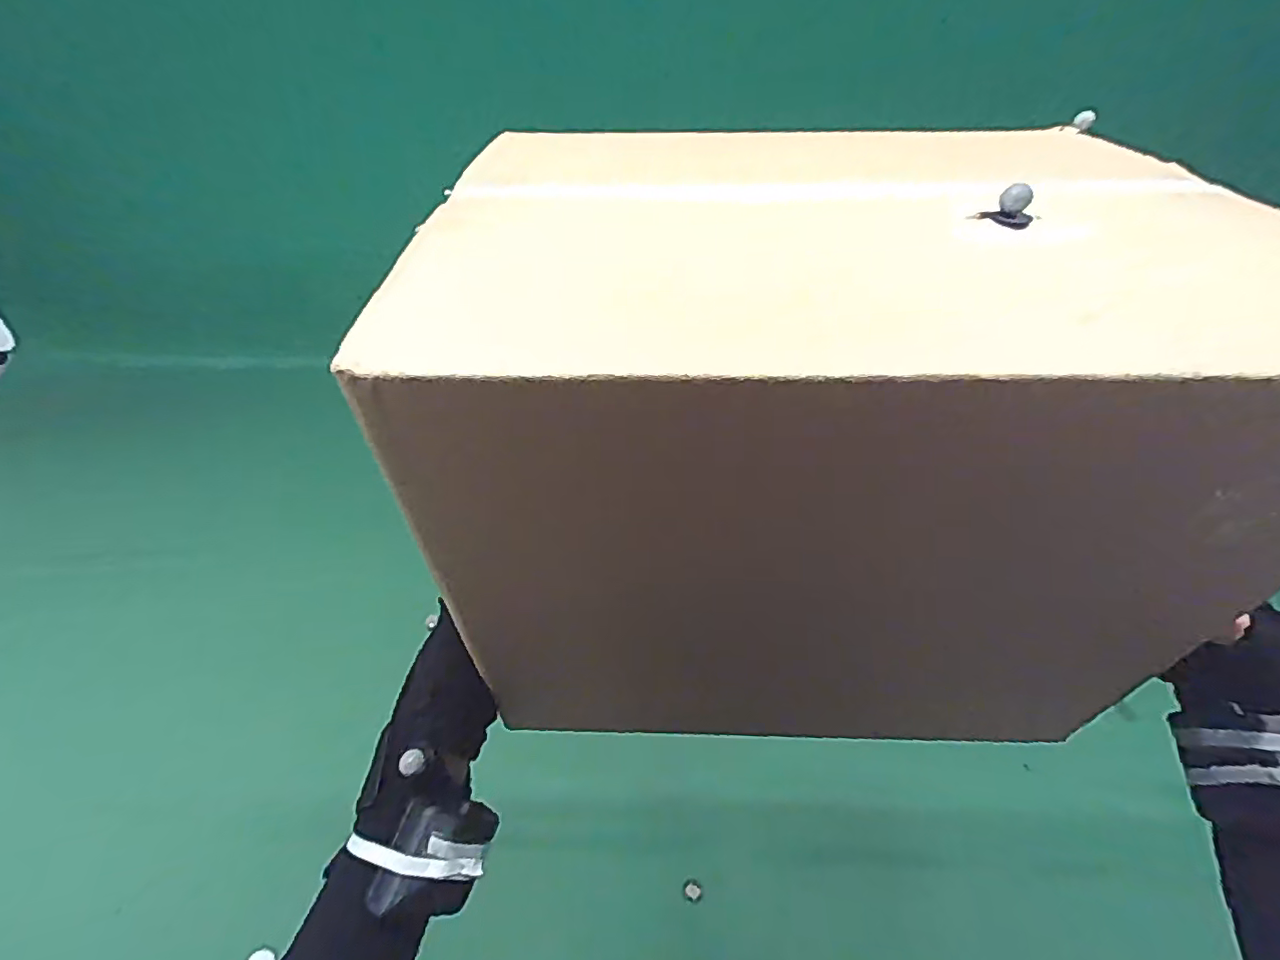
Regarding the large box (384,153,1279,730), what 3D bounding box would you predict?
[{"bbox_3d":[0.105,-0.031,0.400,0.408,0.320,0.320,1,45,1],"label":"large box"}]
